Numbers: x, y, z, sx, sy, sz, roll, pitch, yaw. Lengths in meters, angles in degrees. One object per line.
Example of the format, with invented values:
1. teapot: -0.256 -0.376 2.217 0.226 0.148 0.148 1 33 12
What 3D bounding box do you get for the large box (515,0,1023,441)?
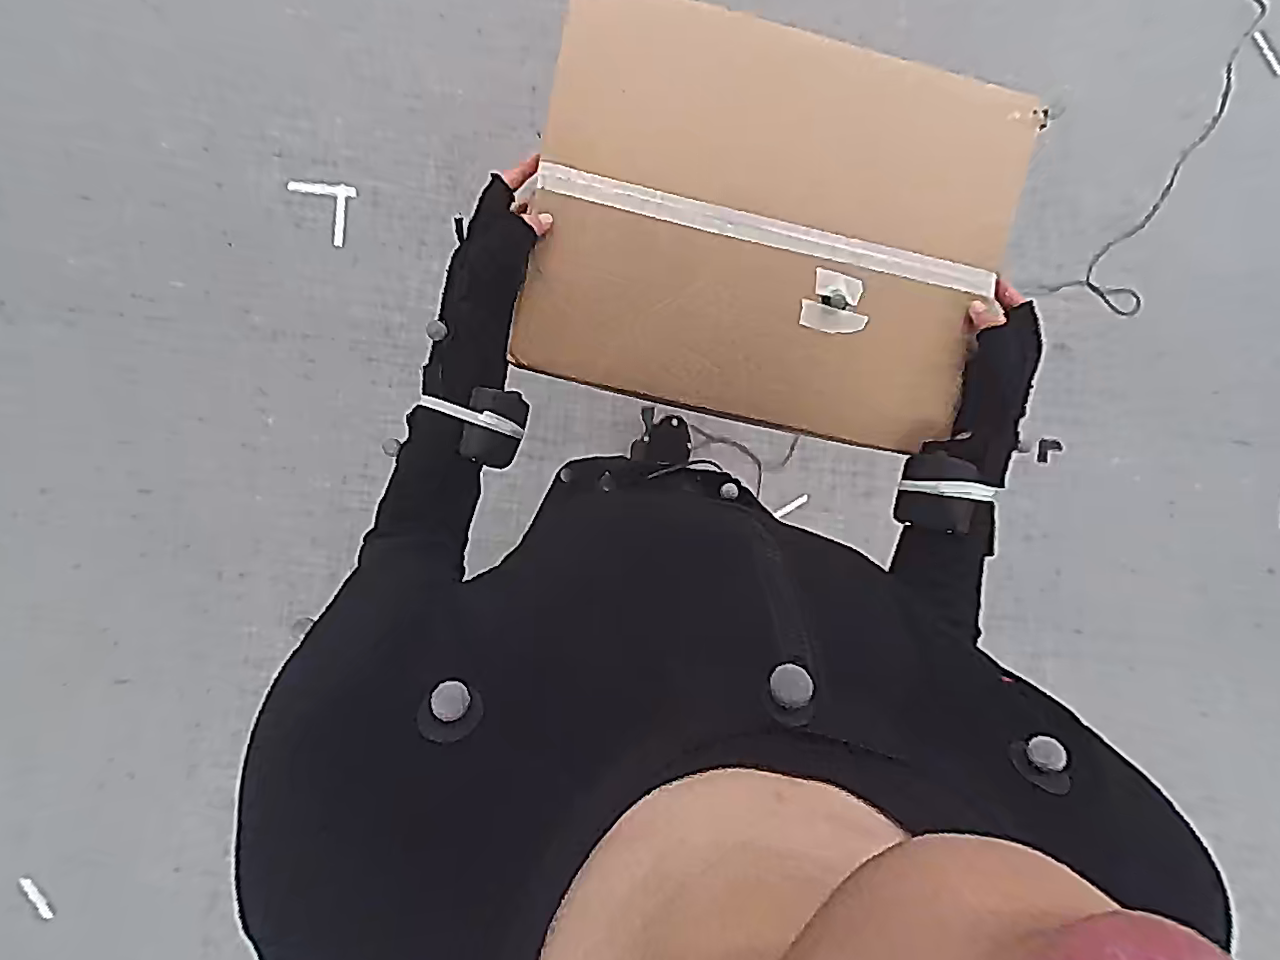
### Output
1. large box: 0.101 -0.243 0.618 0.408 0.320 0.320 12 99 -5
